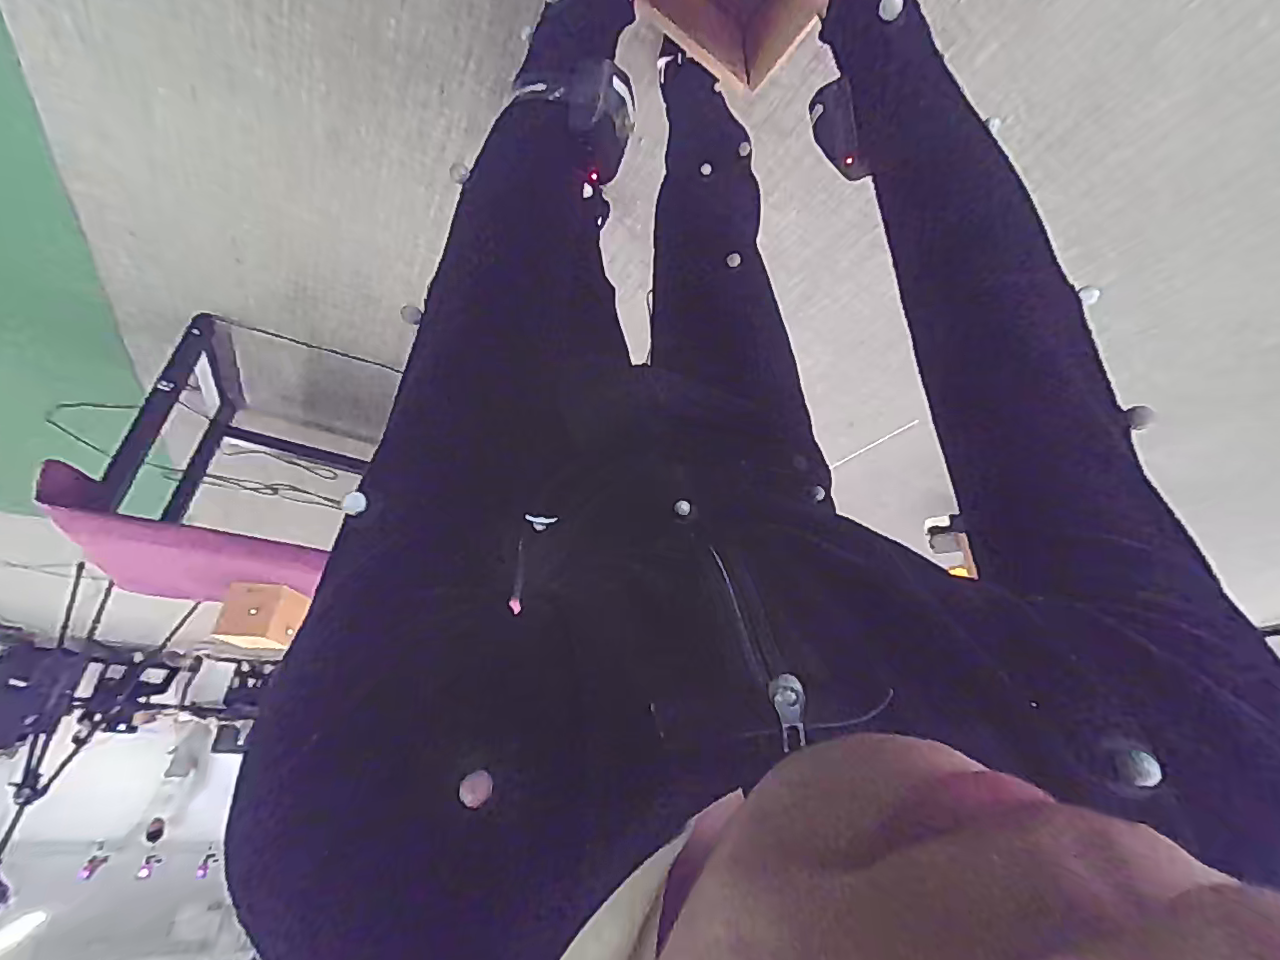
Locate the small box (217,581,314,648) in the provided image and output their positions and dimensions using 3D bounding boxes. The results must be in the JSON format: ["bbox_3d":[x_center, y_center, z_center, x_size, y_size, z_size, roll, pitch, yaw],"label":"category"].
[{"bbox_3d":[-1.173,0.426,1.709,0.168,0.176,0.179,3,152,-1],"label":"small box"}]
